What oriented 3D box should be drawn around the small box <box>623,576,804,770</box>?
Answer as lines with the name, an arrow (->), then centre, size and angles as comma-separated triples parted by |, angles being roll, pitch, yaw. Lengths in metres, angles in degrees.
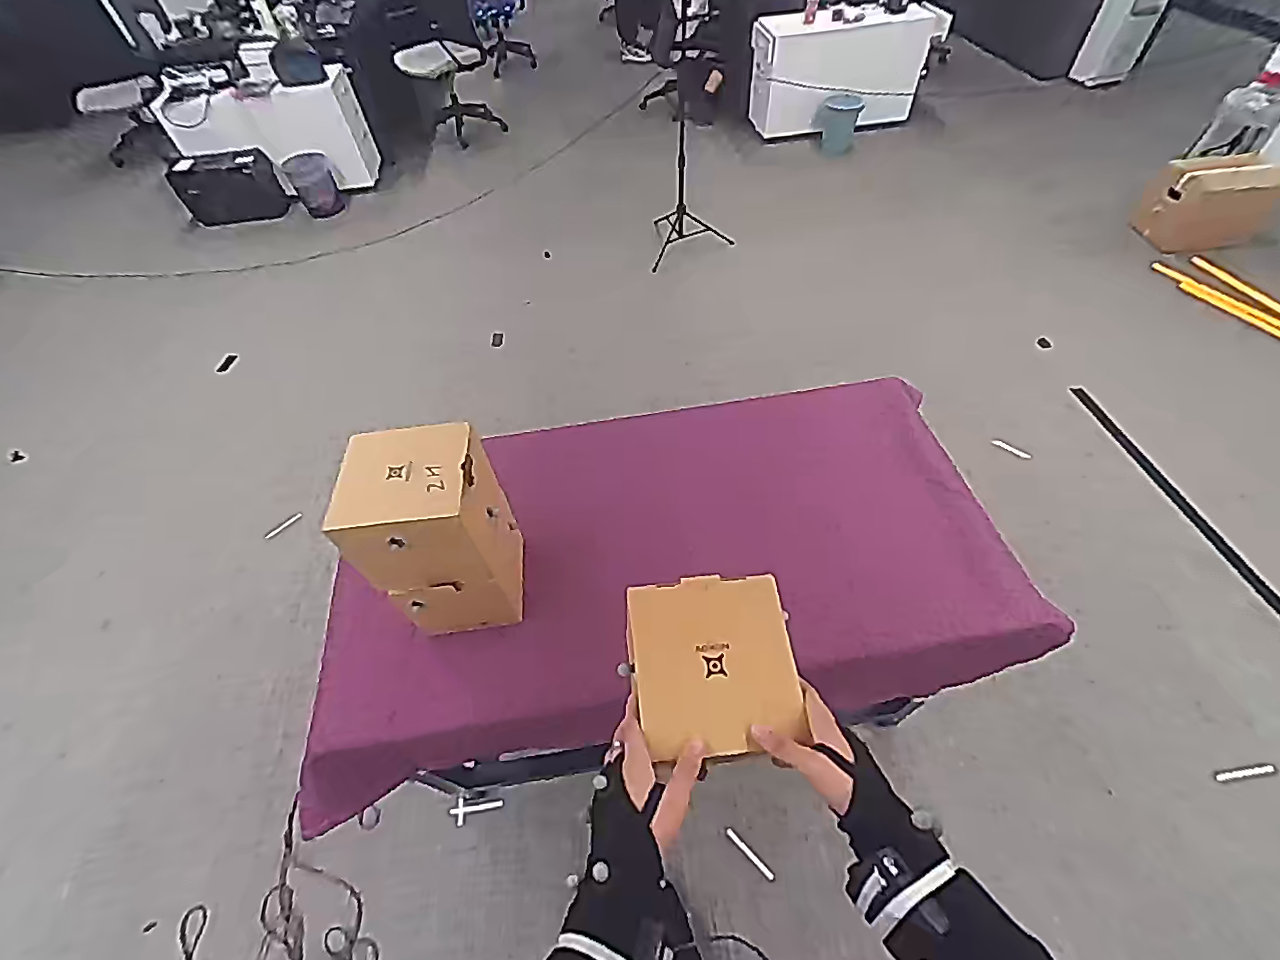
small box -> 0.071, 0.230, 0.627 | 0.168, 0.176, 0.179 | -5, 57, -4

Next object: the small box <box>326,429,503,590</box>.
small box -> -0.312, 0.048, 0.791 | 0.179, 0.176, 0.168 | -6, 52, -1
